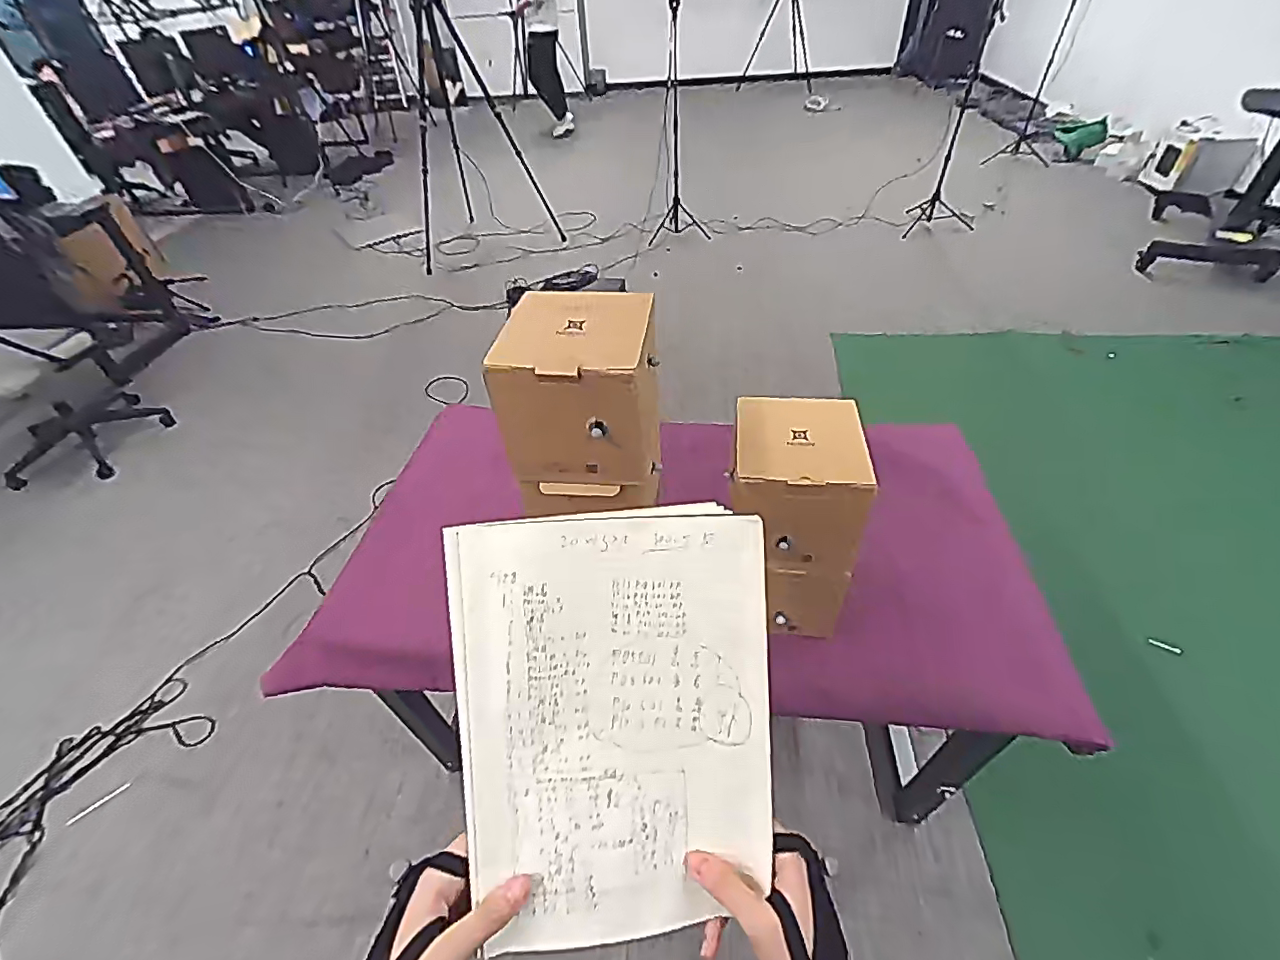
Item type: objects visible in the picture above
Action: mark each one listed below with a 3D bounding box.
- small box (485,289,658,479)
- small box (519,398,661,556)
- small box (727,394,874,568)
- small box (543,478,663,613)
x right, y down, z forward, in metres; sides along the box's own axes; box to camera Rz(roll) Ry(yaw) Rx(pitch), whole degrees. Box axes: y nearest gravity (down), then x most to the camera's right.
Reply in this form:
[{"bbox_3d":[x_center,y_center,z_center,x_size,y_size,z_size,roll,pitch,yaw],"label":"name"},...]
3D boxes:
[{"bbox_3d":[-0.068,-0.119,0.673,0.168,0.176,0.179,4,45,7],"label":"small box"},{"bbox_3d":[-0.060,-0.007,0.791,0.168,0.176,0.179,3,44,7],"label":"small box"},{"bbox_3d":[0.212,-0.001,0.765,0.168,0.176,0.179,3,45,7],"label":"small box"},{"bbox_3d":[-0.050,0.106,0.911,0.168,0.176,0.179,3,46,7],"label":"small box"}]
